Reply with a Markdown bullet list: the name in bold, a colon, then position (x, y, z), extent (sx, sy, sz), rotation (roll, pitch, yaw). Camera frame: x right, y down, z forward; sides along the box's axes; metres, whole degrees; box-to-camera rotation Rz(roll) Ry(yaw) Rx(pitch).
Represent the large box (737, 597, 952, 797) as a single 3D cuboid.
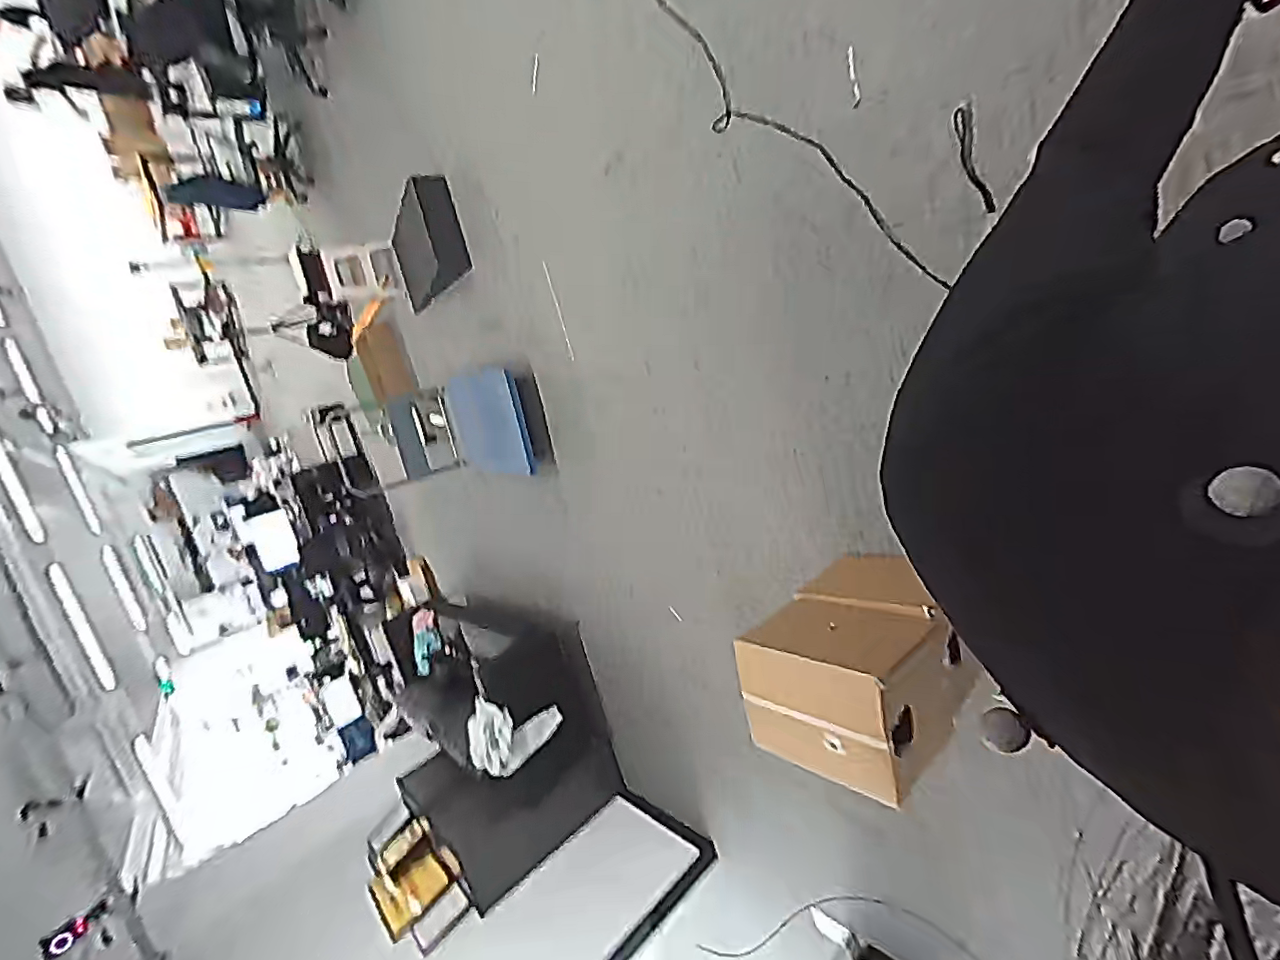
- **large box**: position (0.520, 0.516, 1.395), extent (0.408, 0.320, 0.320), rotation (-3, 101, 50)
